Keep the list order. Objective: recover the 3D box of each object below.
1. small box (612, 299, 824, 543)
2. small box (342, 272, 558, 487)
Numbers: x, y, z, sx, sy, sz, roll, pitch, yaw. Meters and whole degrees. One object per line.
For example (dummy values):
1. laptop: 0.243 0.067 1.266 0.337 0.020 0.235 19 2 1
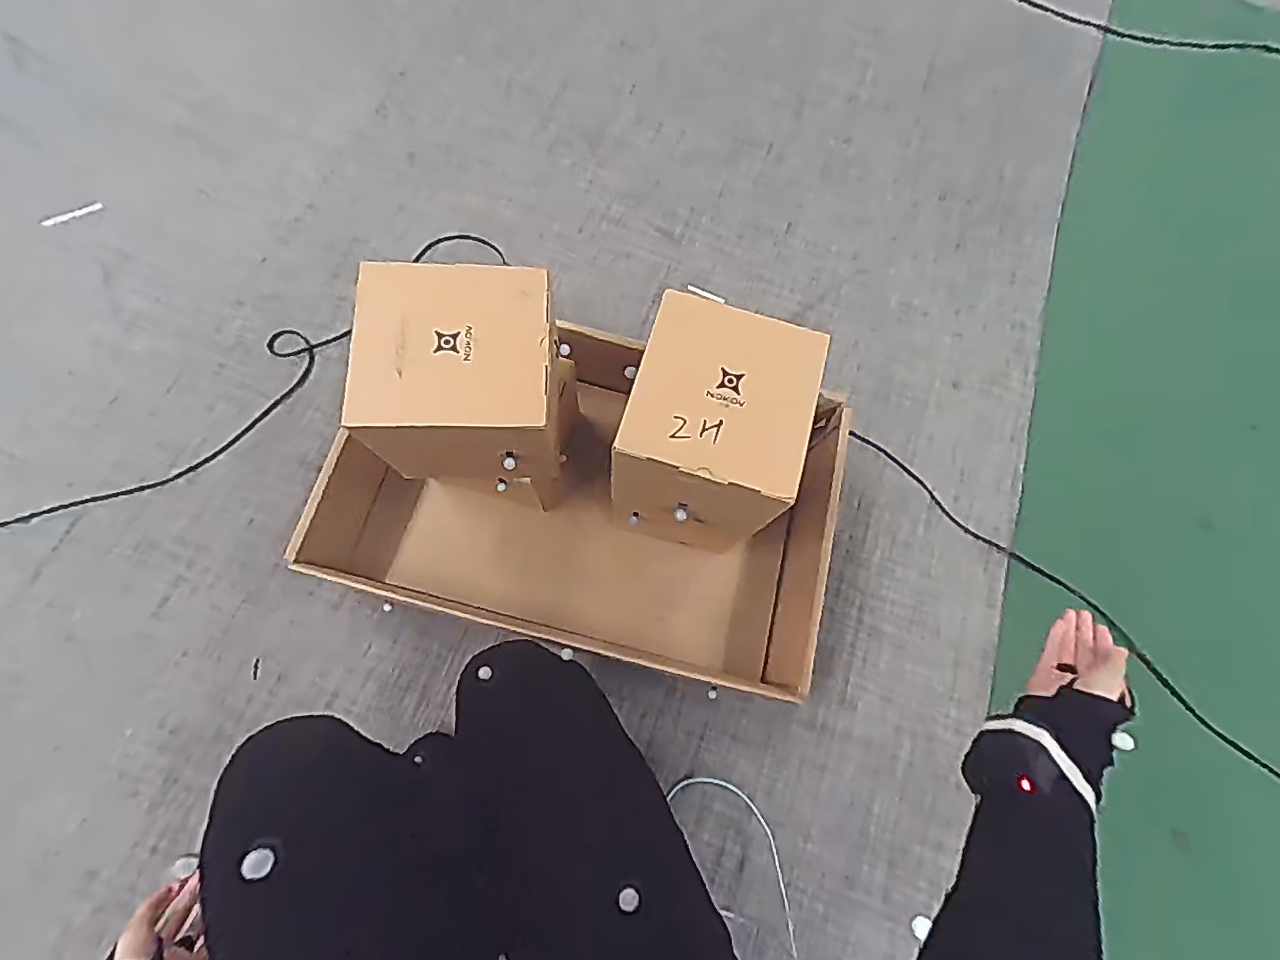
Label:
1. small box: 0.070 -0.050 0.569 0.168 0.176 0.179 17 73 2
2. small box: -0.178 -0.093 0.568 0.179 0.176 0.168 0 74 -5
